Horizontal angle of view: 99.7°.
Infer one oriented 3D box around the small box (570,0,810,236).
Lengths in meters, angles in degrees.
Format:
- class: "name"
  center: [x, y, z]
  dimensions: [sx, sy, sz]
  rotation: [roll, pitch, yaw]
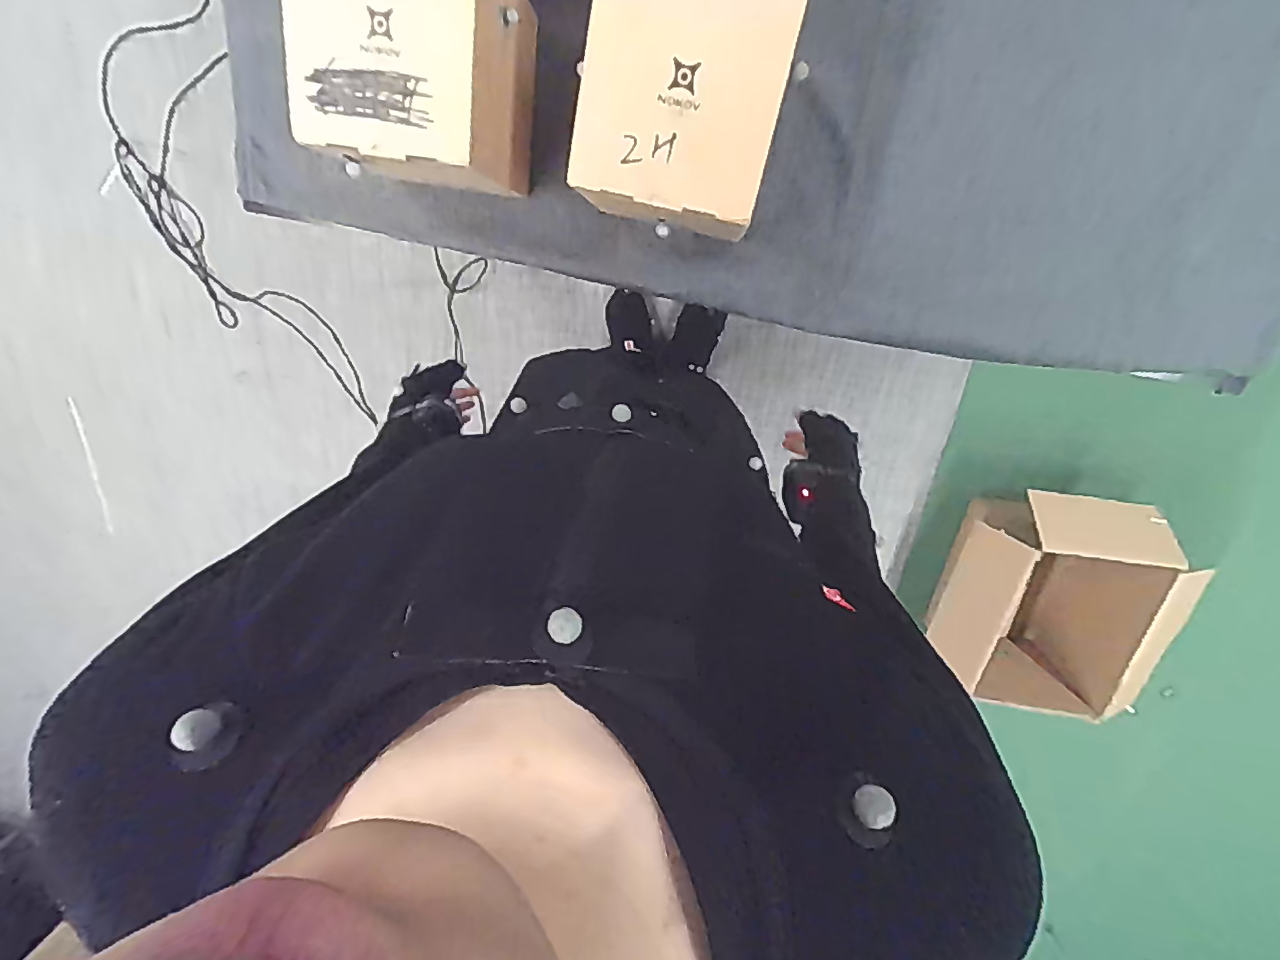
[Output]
- class: "small box"
  center: [0.042, -0.347, 0.515]
  dimensions: [0.168, 0.176, 0.179]
  rotation: [13, 111, 1]
